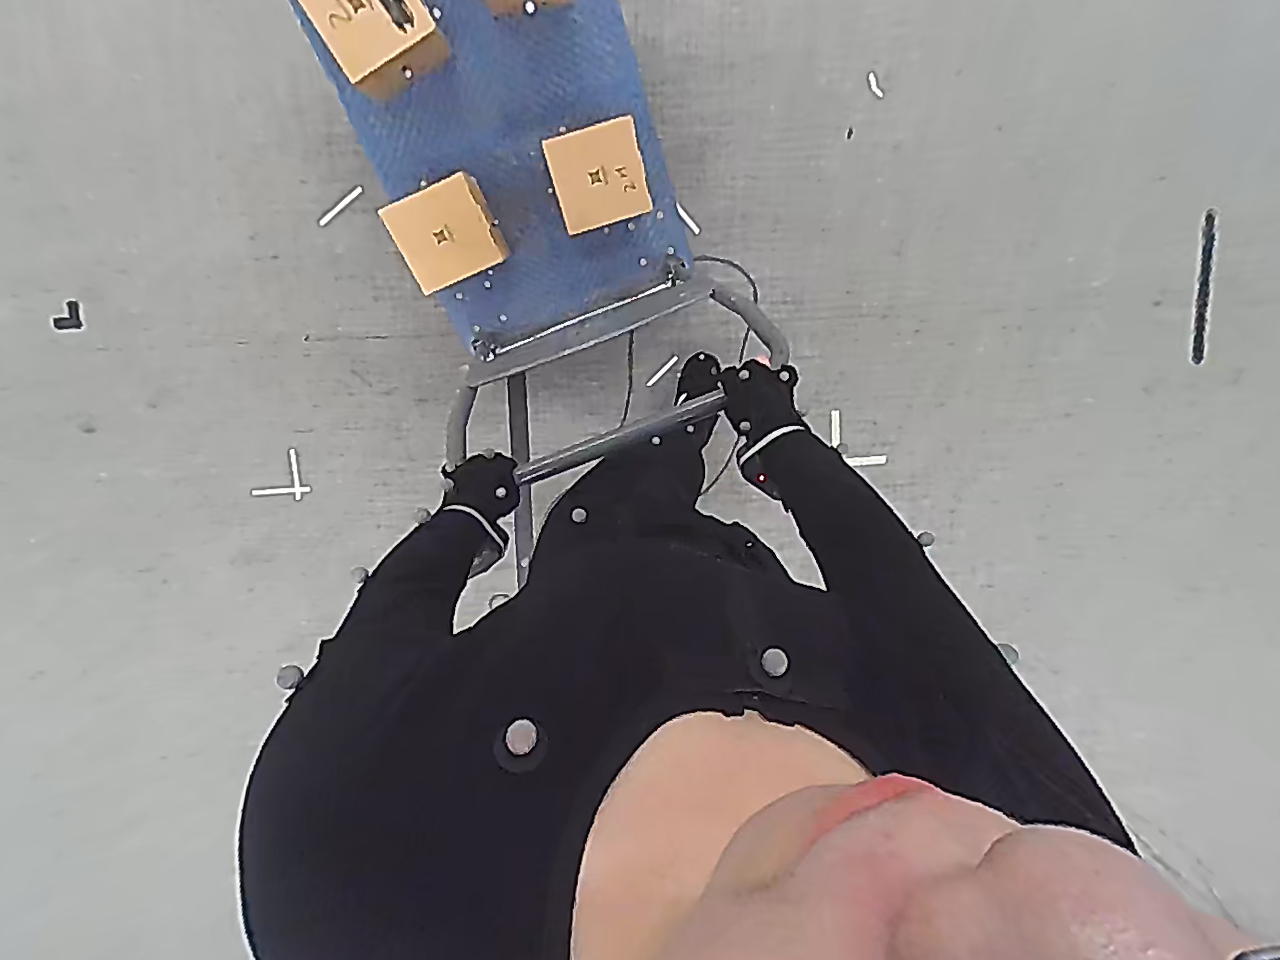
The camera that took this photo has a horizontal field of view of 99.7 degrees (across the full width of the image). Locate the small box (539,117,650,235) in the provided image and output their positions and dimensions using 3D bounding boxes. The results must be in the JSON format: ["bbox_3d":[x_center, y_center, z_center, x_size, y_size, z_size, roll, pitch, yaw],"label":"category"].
[{"bbox_3d":[-0.092,-0.603,1.093,0.179,0.176,0.168,-17,117,-1],"label":"small box"}]

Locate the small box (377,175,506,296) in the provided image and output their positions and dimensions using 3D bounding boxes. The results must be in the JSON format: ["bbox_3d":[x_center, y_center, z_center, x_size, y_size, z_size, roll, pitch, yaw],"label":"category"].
[{"bbox_3d":[-0.390,-0.492,1.100,0.179,0.176,0.168,-25,116,1],"label":"small box"}]

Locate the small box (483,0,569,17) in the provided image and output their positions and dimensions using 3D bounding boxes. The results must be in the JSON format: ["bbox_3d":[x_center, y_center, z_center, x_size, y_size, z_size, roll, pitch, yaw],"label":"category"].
[{"bbox_3d":[-0.213,-0.936,0.920,0.168,0.176,0.179,-12,117,-3],"label":"small box"}]
